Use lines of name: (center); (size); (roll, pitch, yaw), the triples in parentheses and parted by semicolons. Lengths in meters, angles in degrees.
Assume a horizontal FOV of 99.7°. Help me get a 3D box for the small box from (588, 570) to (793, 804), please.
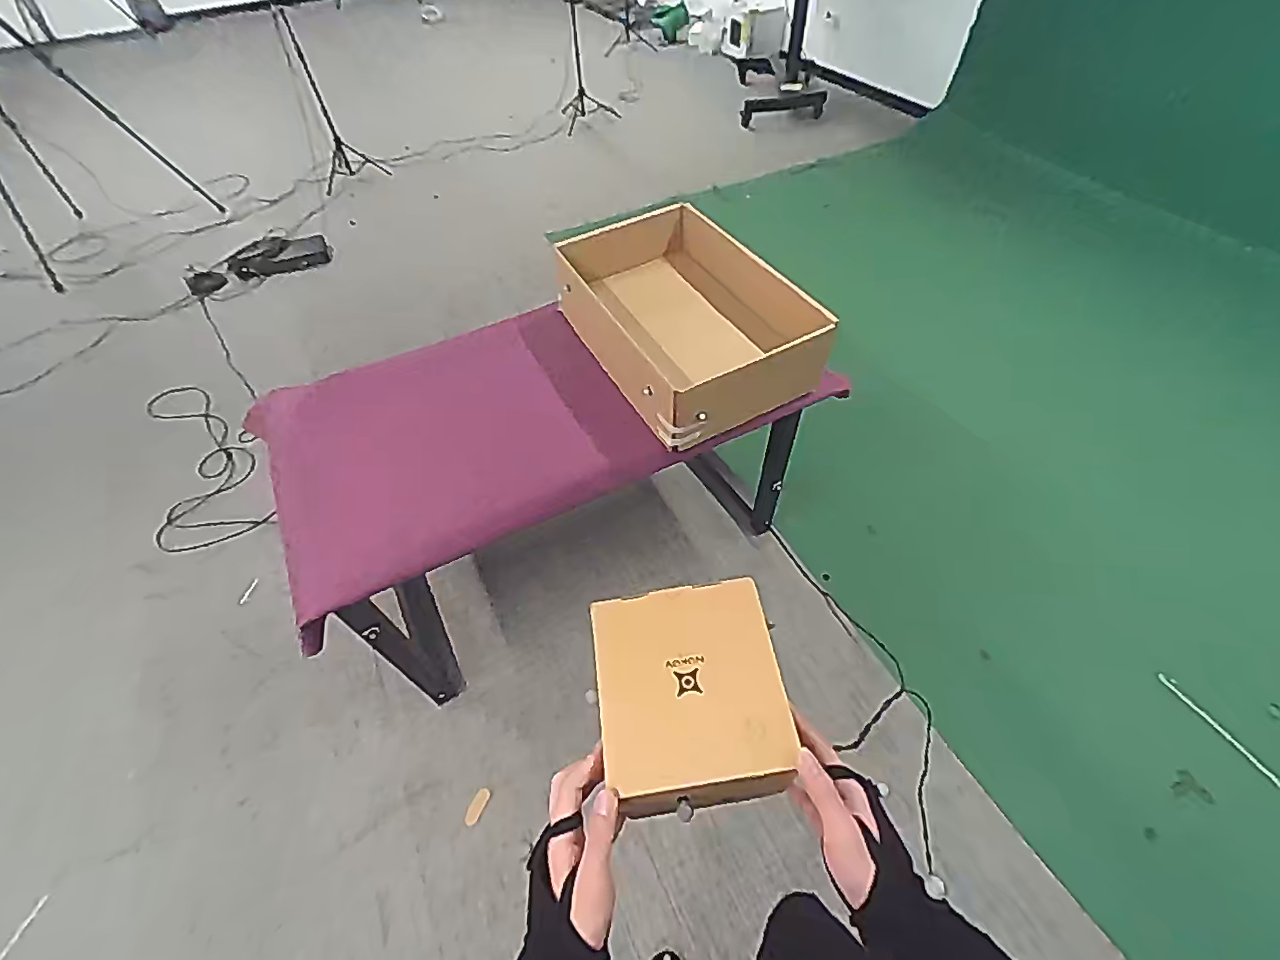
small box: (0.046, 0.218, 0.553); (0.168, 0.176, 0.179); (-9, 52, 0)
